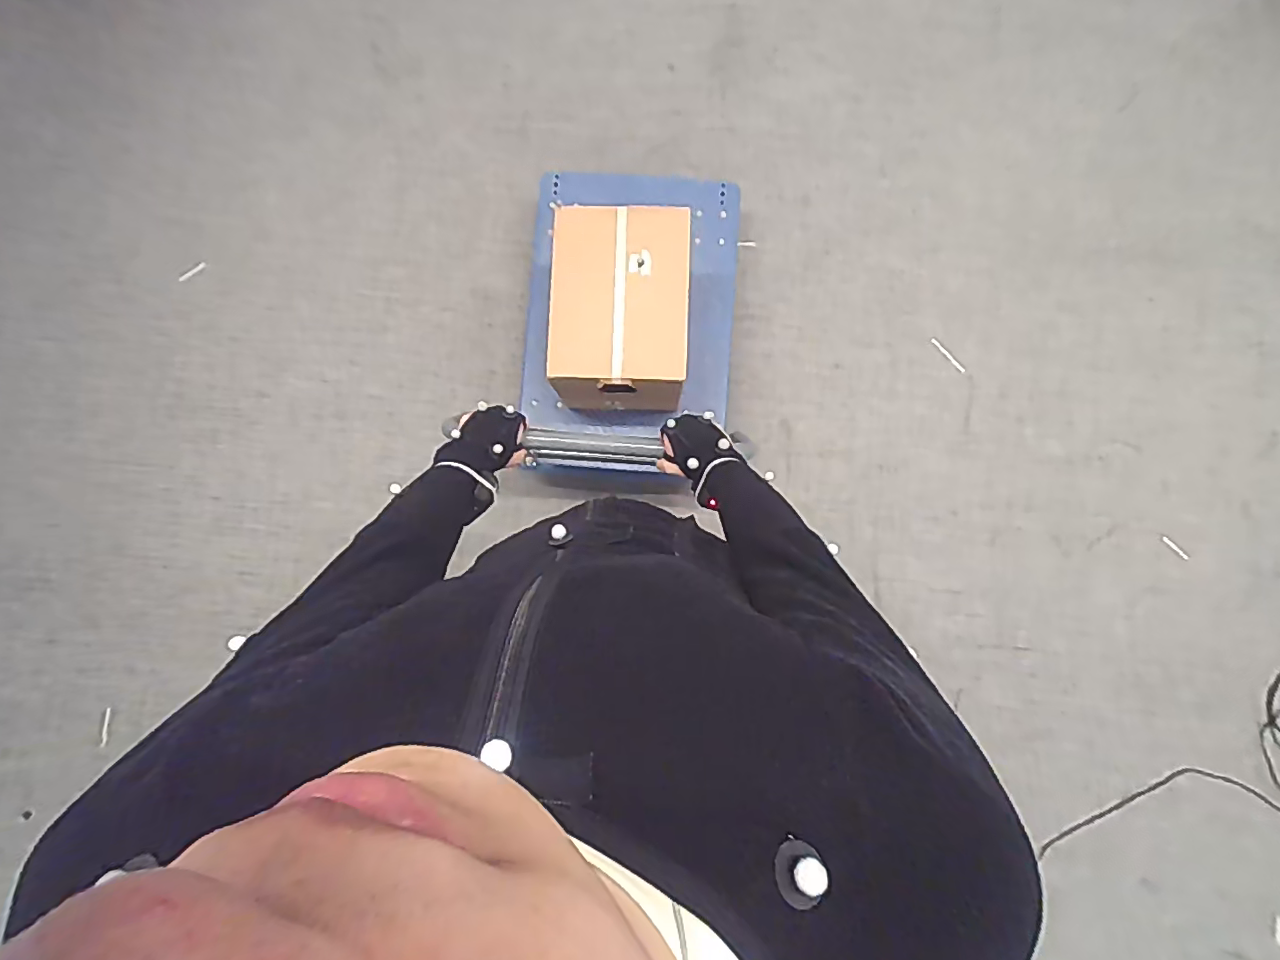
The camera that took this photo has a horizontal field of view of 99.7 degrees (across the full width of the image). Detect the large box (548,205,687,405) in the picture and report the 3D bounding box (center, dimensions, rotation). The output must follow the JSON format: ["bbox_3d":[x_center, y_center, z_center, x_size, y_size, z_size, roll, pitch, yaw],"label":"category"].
[{"bbox_3d":[-0.045,-0.418,1.372,0.320,0.320,0.408,2,85,1],"label":"large box"}]
